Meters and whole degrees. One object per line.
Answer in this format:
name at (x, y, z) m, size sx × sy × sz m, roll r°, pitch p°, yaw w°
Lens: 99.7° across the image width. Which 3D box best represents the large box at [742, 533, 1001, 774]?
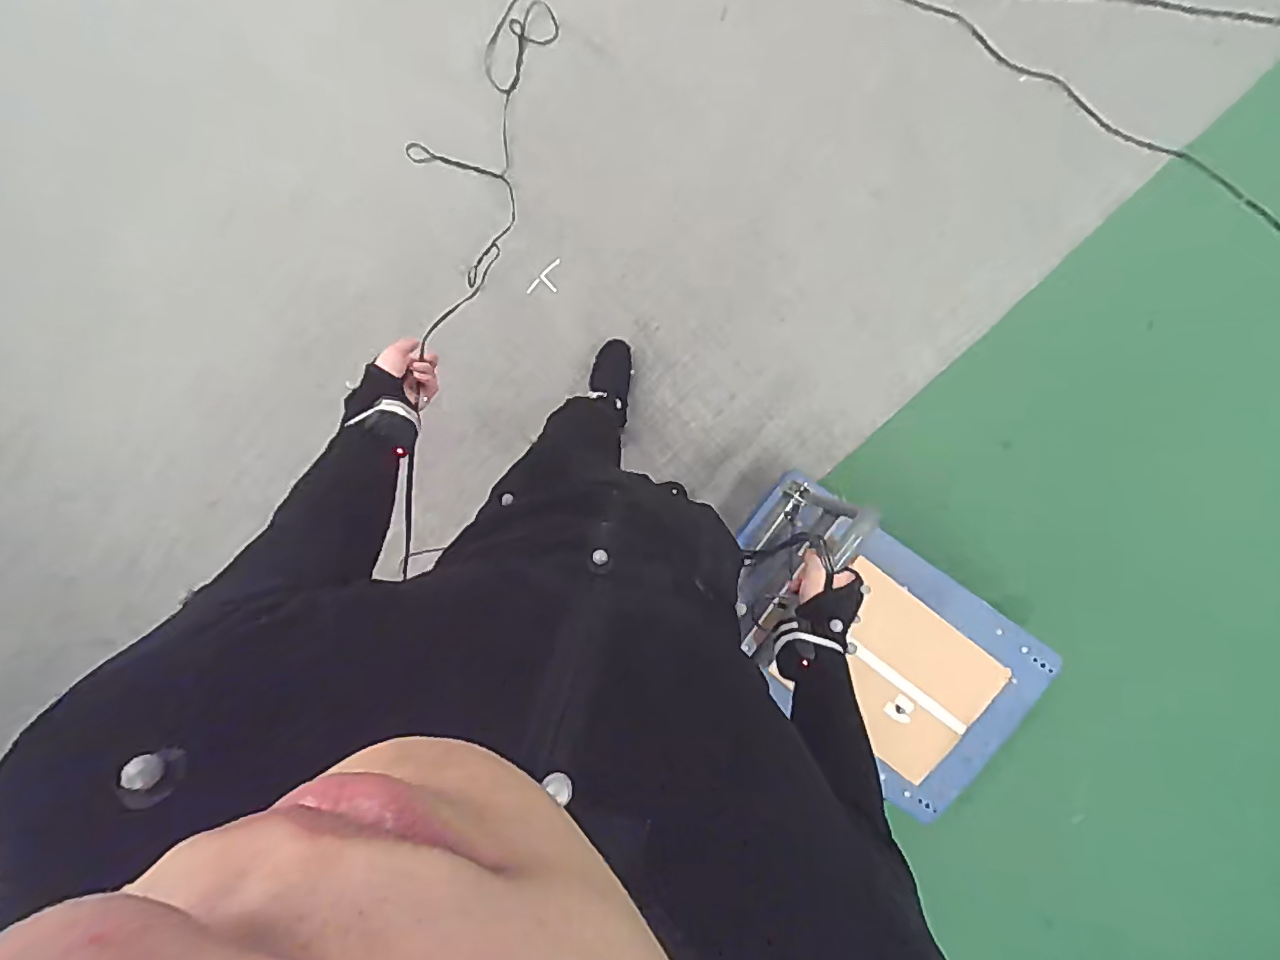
large box at (0.509, 0.378, 1.282) m, size 0.408 × 0.320 × 0.320 m, roll 38°, pitch 95°, yaw -1°
